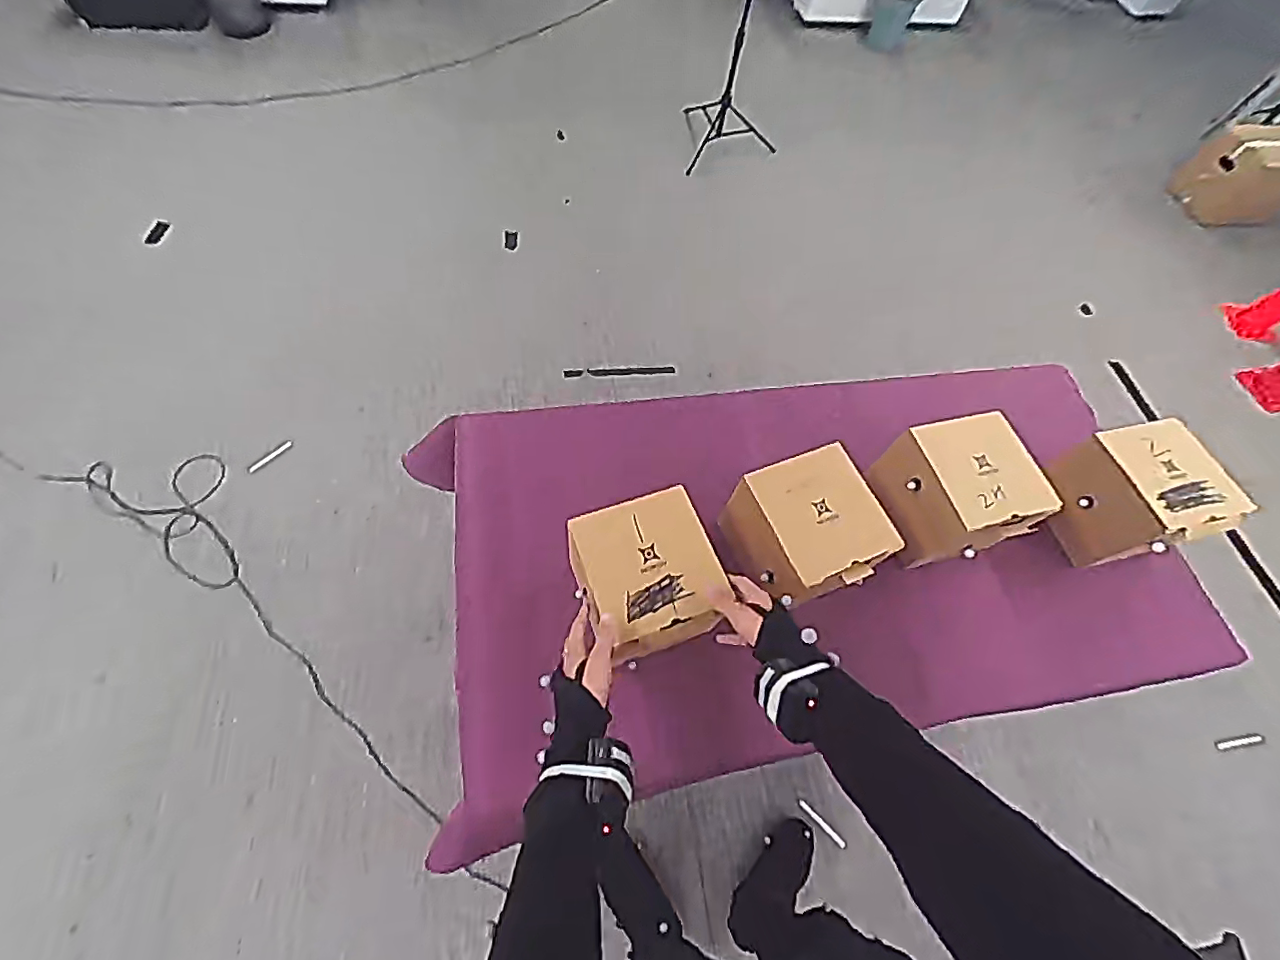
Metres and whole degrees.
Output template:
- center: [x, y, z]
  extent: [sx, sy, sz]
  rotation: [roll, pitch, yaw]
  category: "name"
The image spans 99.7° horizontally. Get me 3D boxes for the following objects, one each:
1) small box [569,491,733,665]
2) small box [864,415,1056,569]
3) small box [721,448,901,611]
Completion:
- center: [0.006, 0.145, 0.757]
  extent: [0.168, 0.176, 0.179]
  rotation: [-17, 65, -14]
  category: "small box"
- center: [0.496, 0.023, 0.871]
  extent: [0.168, 0.176, 0.179]
  rotation: [-11, 64, -11]
  category: "small box"
- center: [0.243, 0.084, 0.815]
  extent: [0.168, 0.176, 0.179]
  rotation: [-18, 65, -15]
  category: "small box"
